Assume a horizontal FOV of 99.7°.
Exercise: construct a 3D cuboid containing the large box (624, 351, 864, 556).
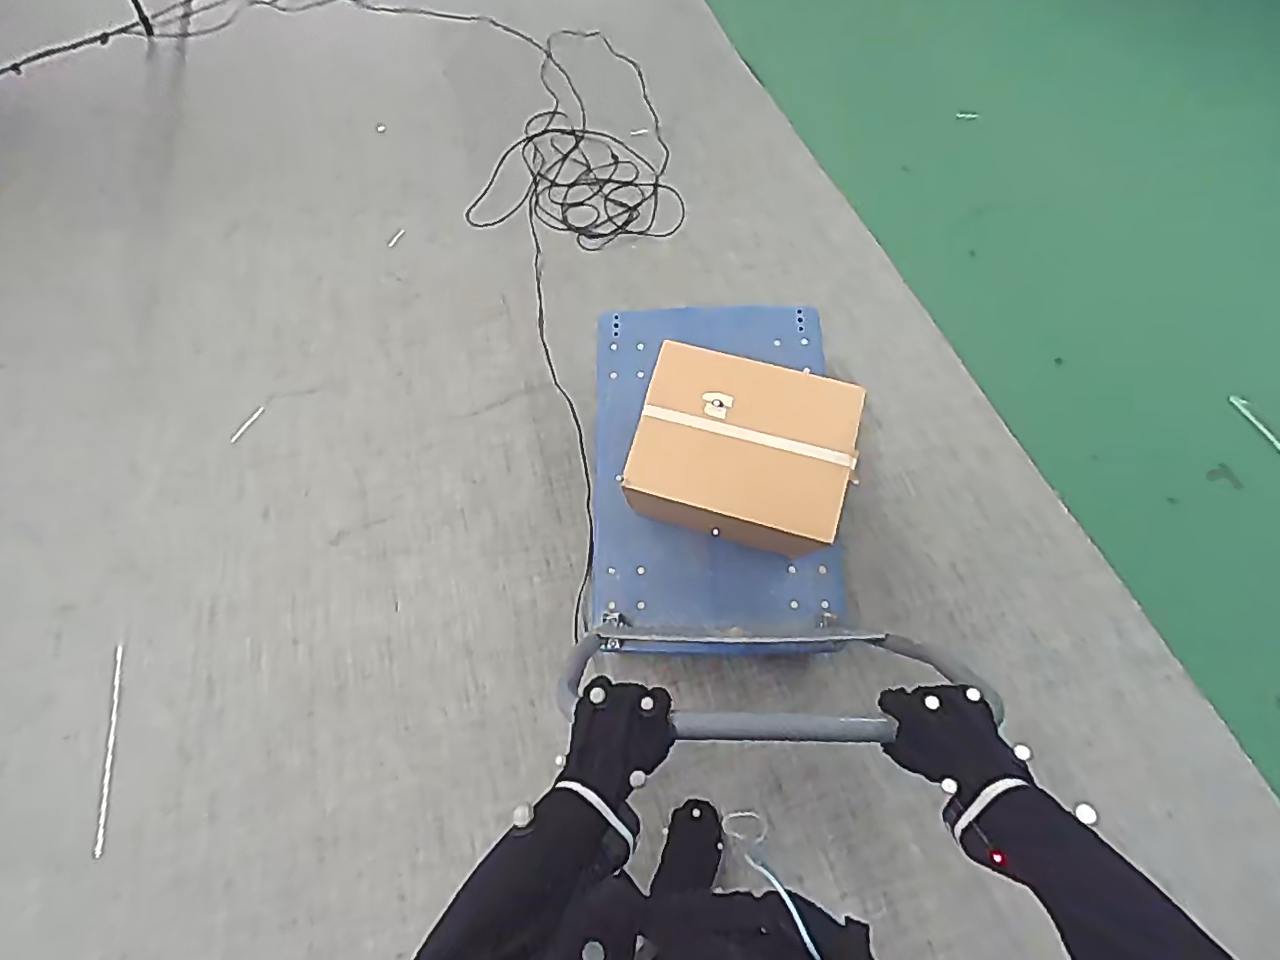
[{"bbox_3d":[0.212,-0.039,1.167,0.408,0.320,0.320,15,78,8],"label":"large box"}]
